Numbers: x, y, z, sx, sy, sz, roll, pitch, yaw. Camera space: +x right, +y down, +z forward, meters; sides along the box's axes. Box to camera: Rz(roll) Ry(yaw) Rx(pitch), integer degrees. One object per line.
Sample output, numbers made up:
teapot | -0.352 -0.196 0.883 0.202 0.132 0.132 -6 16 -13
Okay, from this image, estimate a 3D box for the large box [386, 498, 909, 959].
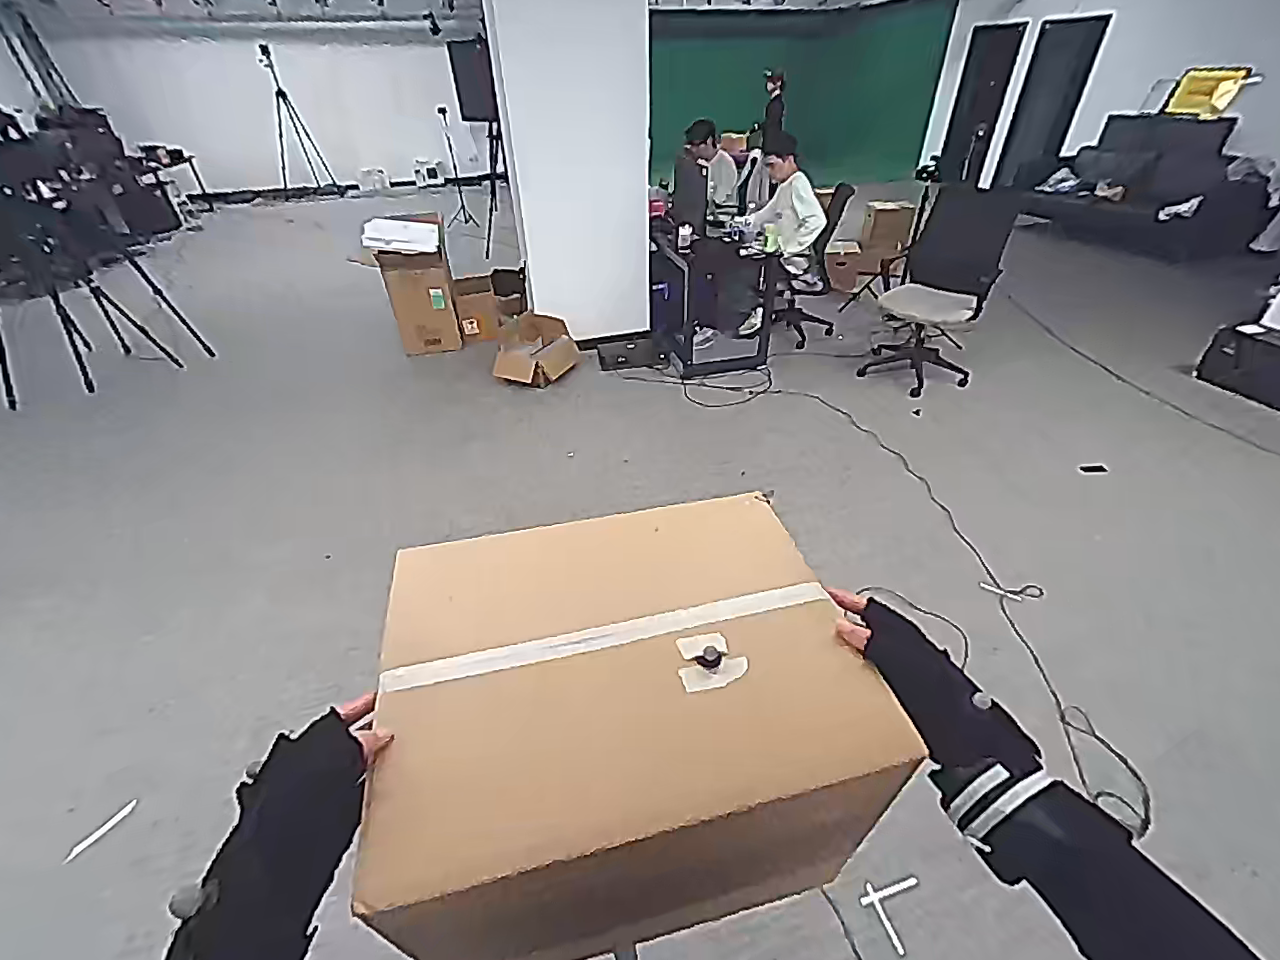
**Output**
large box | -0.015 0.260 0.590 0.408 0.320 0.320 -9 41 -12
